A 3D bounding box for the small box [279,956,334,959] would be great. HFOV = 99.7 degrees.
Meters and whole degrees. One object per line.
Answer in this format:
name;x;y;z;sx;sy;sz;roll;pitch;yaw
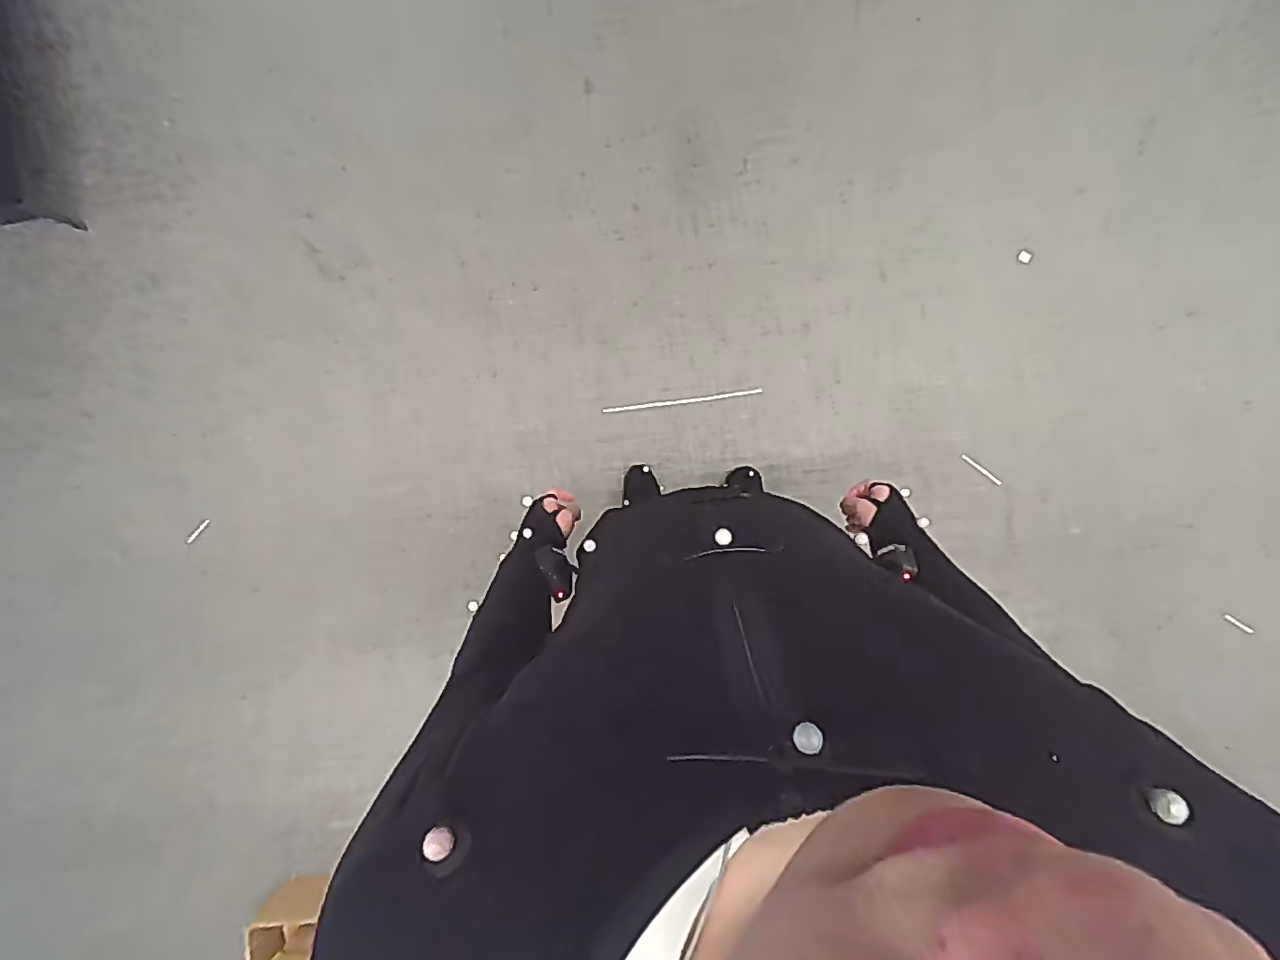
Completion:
small box;-0.930;1.401;1.418;0.179;0.176;0.168;-1;92;0
